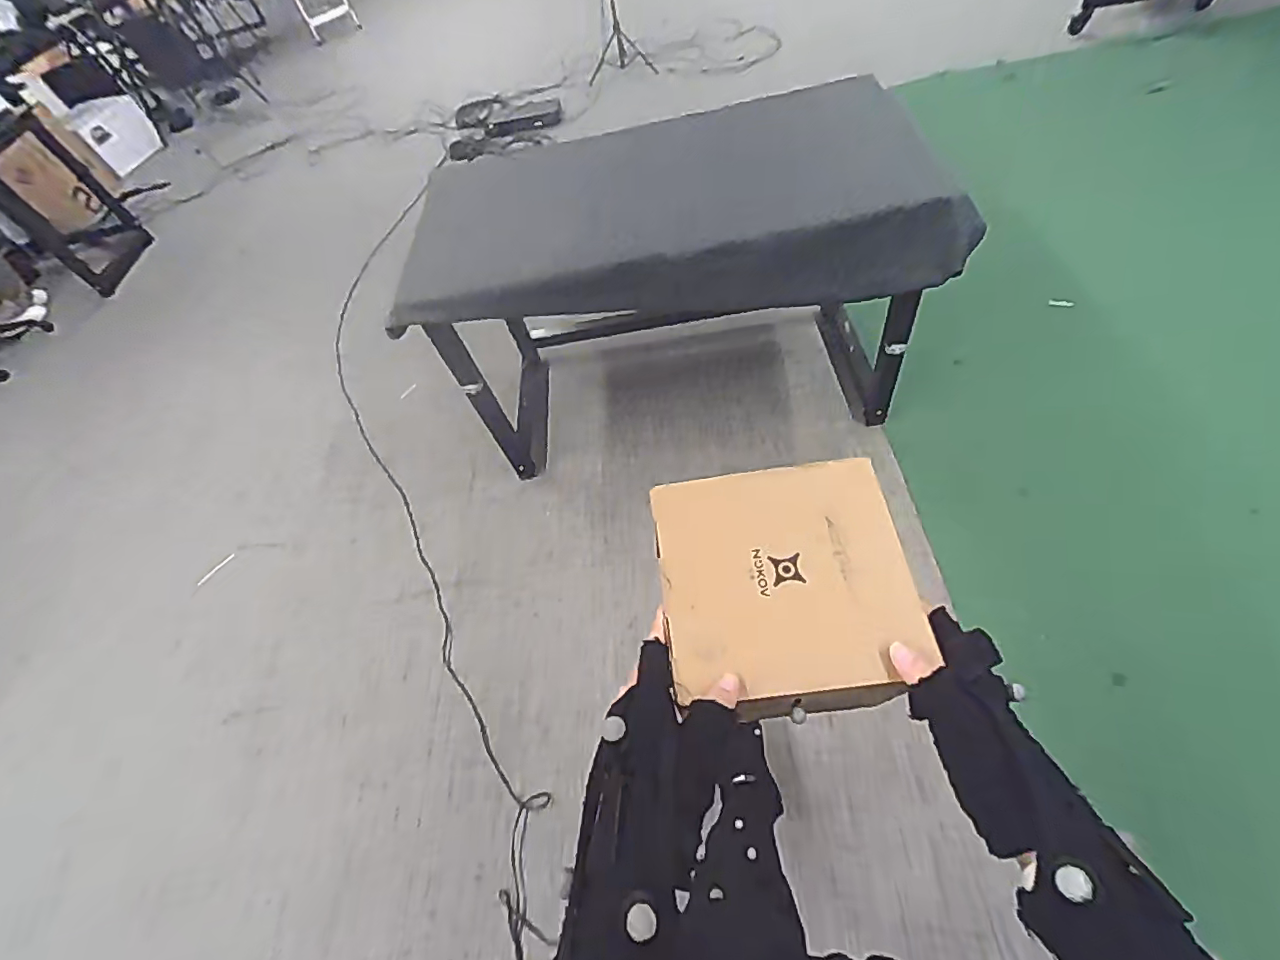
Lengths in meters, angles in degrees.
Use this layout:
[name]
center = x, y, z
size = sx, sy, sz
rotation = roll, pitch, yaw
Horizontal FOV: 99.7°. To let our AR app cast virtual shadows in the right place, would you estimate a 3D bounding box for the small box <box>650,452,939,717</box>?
[small box]
center = 0.110, 0.099, 0.462
size = 0.179, 0.176, 0.168
rotation = -9, 62, 1
